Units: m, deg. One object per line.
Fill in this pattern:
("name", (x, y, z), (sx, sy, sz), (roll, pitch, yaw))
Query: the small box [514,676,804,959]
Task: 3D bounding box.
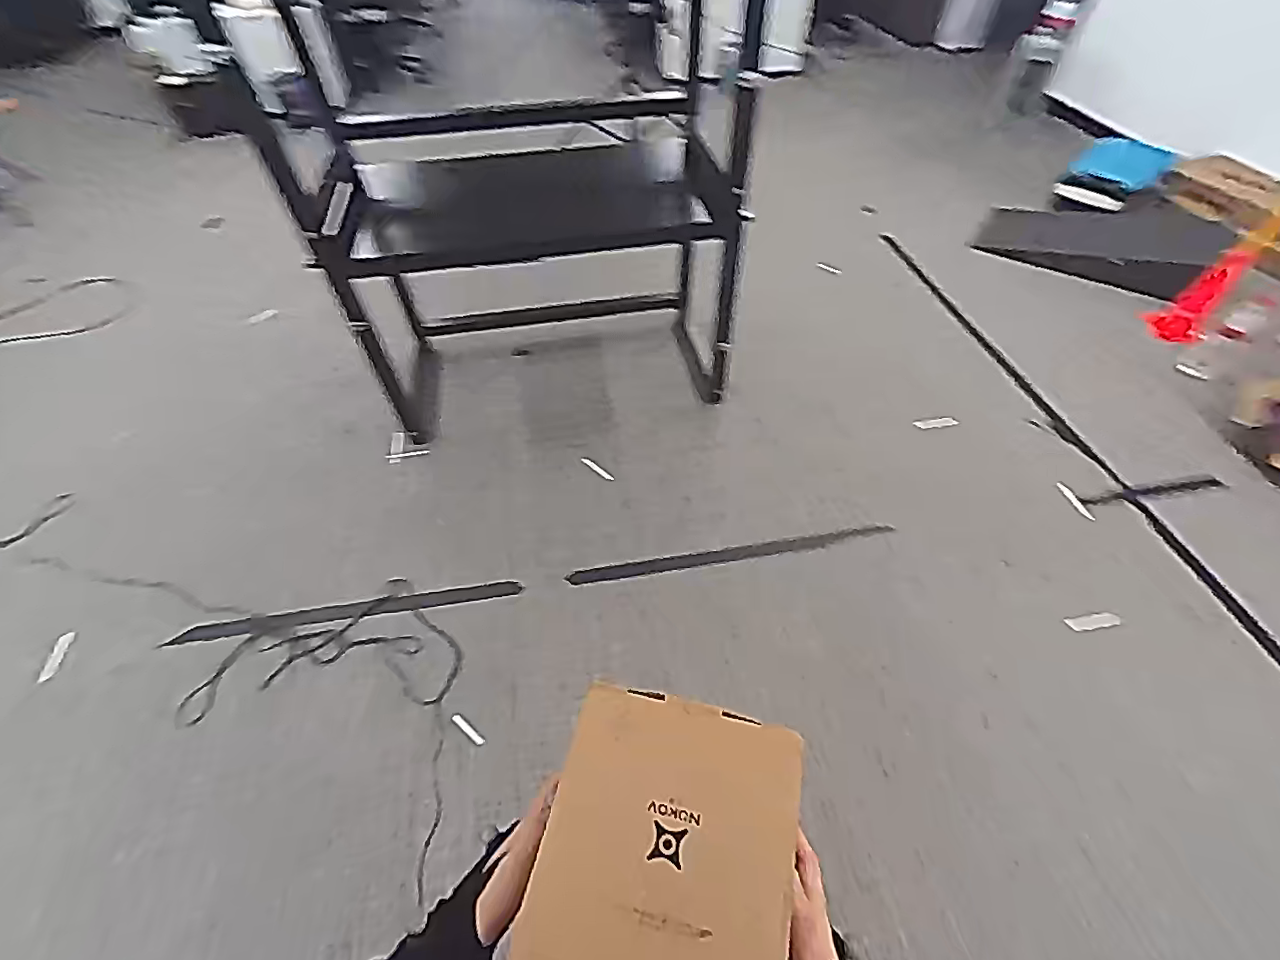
("small box", (0.024, 0.281, 0.421), (0.168, 0.176, 0.179), (9, 54, 11))
